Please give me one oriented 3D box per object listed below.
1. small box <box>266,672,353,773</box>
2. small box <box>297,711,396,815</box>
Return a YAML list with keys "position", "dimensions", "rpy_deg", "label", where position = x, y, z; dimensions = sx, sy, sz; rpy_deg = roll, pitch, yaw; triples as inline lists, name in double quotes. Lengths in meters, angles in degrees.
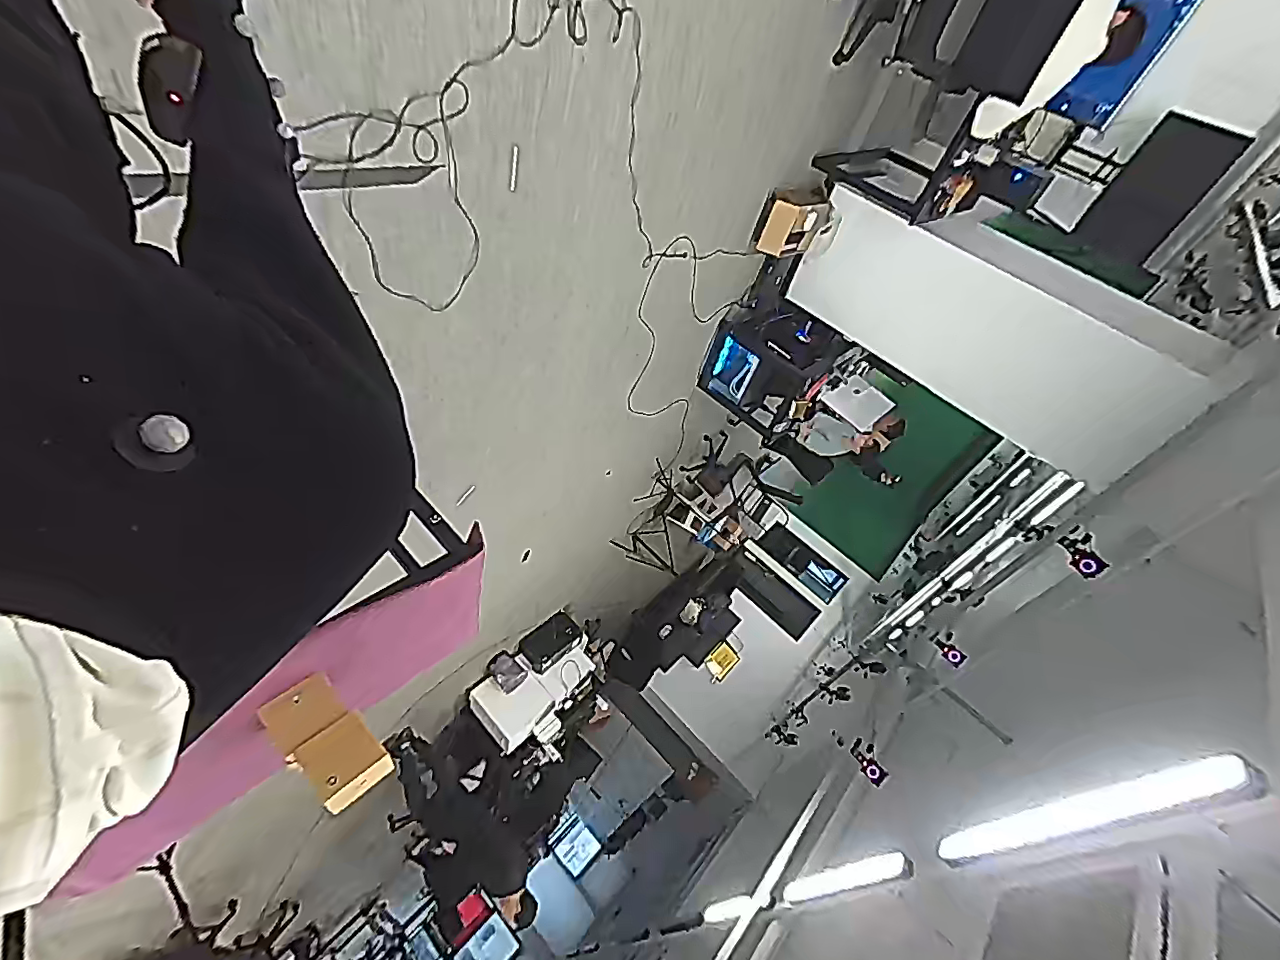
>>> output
- position: [-0.939, 0.692, 1.551]
  dimensions: [0.179, 0.176, 0.168]
  rpy_deg: [-32, 156, -35]
  label: "small box"
- position: [-0.809, 0.779, 1.500]
  dimensions: [0.179, 0.176, 0.168]
  rpy_deg: [-33, 155, -36]
  label: "small box"
